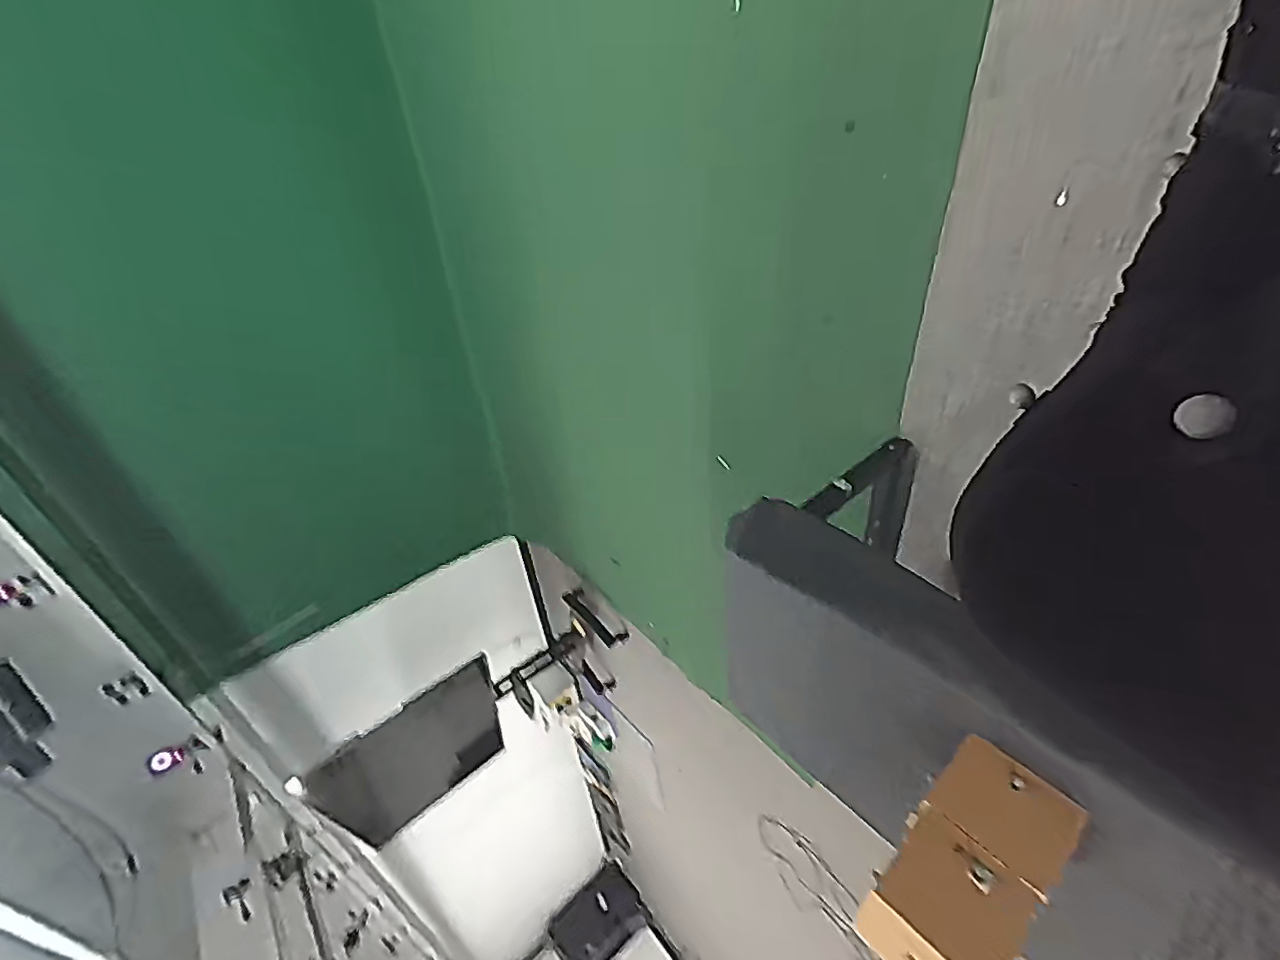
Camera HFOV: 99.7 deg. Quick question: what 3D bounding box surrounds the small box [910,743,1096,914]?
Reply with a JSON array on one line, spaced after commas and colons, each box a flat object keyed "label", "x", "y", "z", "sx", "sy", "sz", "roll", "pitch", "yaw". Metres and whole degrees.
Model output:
[{"label": "small box", "x": 0.579, "y": 0.563, "z": 0.874, "sx": 0.179, "sy": 0.176, "sz": 0.168, "roll": 33, "pitch": 141, "yaw": 41}]

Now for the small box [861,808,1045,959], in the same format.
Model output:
[{"label": "small box", "x": 0.458, "y": 0.641, "z": 0.799, "sx": 0.168, "sy": 0.176, "sz": 0.179, "roll": 30, "pitch": 137, "yaw": 40}]
